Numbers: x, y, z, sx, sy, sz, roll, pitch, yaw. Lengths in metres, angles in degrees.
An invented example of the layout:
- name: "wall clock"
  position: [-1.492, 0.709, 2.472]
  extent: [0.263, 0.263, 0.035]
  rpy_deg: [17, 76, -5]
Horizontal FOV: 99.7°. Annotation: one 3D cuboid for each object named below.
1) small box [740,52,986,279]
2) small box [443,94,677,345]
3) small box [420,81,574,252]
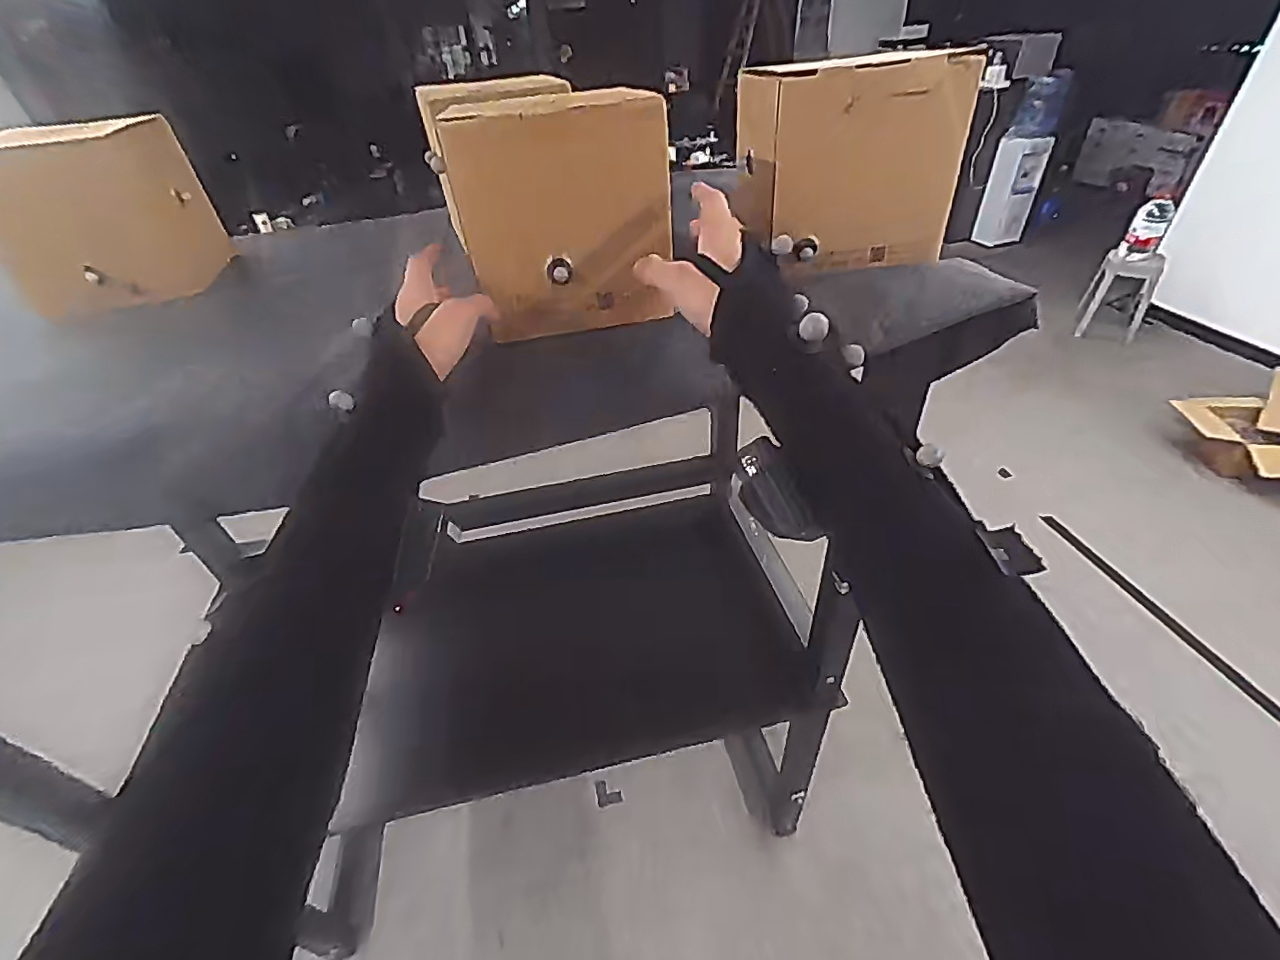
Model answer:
- name: "small box"
  position: [0.197, -0.309, 0.540]
  extent: [0.168, 0.176, 0.179]
  rpy_deg: [-6, 38, 1]
- name: "small box"
  position: [-0.066, -0.241, 0.493]
  extent: [0.168, 0.176, 0.179]
  rpy_deg: [-11, 39, -6]
- name: "small box"
  position: [-0.177, -0.413, 0.713]
  extent: [0.168, 0.176, 0.179]
  rpy_deg: [-18, 41, -14]
